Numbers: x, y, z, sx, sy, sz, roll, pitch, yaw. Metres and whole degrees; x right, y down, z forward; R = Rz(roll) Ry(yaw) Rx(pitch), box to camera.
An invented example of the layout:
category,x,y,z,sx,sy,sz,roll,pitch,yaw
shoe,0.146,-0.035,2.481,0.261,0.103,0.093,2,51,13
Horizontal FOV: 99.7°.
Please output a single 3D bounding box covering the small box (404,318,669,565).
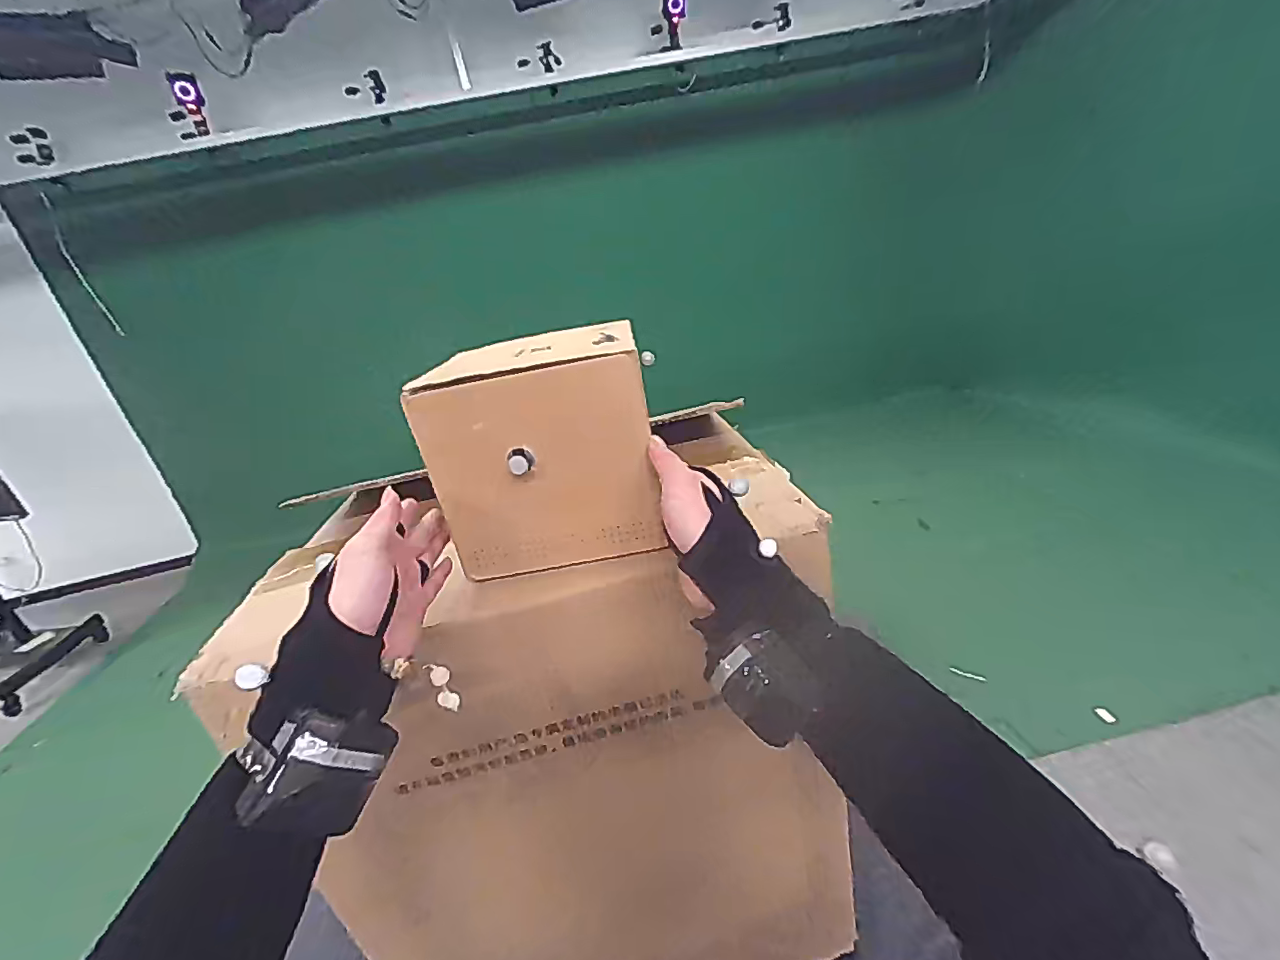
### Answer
category,x,y,z,sx,sy,sz,roll,pitch,yaw
small box,-0.077,-0.039,0.496,0.179,0.176,0.168,-10,24,2
